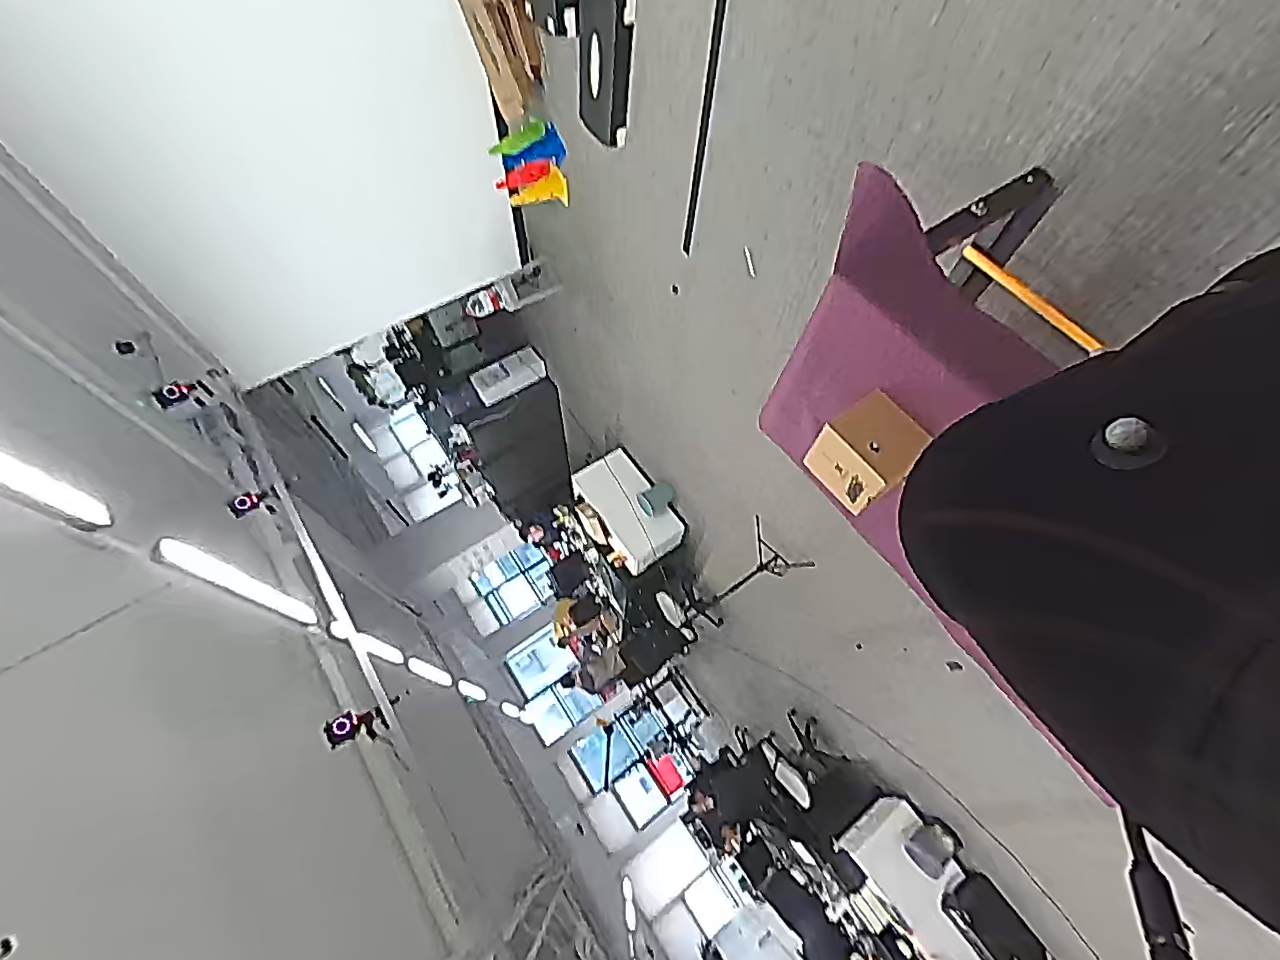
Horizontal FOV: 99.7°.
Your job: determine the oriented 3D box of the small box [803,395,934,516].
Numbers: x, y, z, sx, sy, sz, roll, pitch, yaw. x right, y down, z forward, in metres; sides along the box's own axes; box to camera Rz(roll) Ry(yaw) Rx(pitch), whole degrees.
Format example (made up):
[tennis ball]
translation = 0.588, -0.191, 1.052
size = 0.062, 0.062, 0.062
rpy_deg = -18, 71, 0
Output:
[small box]
translation = 0.505, -0.057, 1.202
size = 0.179, 0.176, 0.168
rpy_deg = 52, 162, 20
